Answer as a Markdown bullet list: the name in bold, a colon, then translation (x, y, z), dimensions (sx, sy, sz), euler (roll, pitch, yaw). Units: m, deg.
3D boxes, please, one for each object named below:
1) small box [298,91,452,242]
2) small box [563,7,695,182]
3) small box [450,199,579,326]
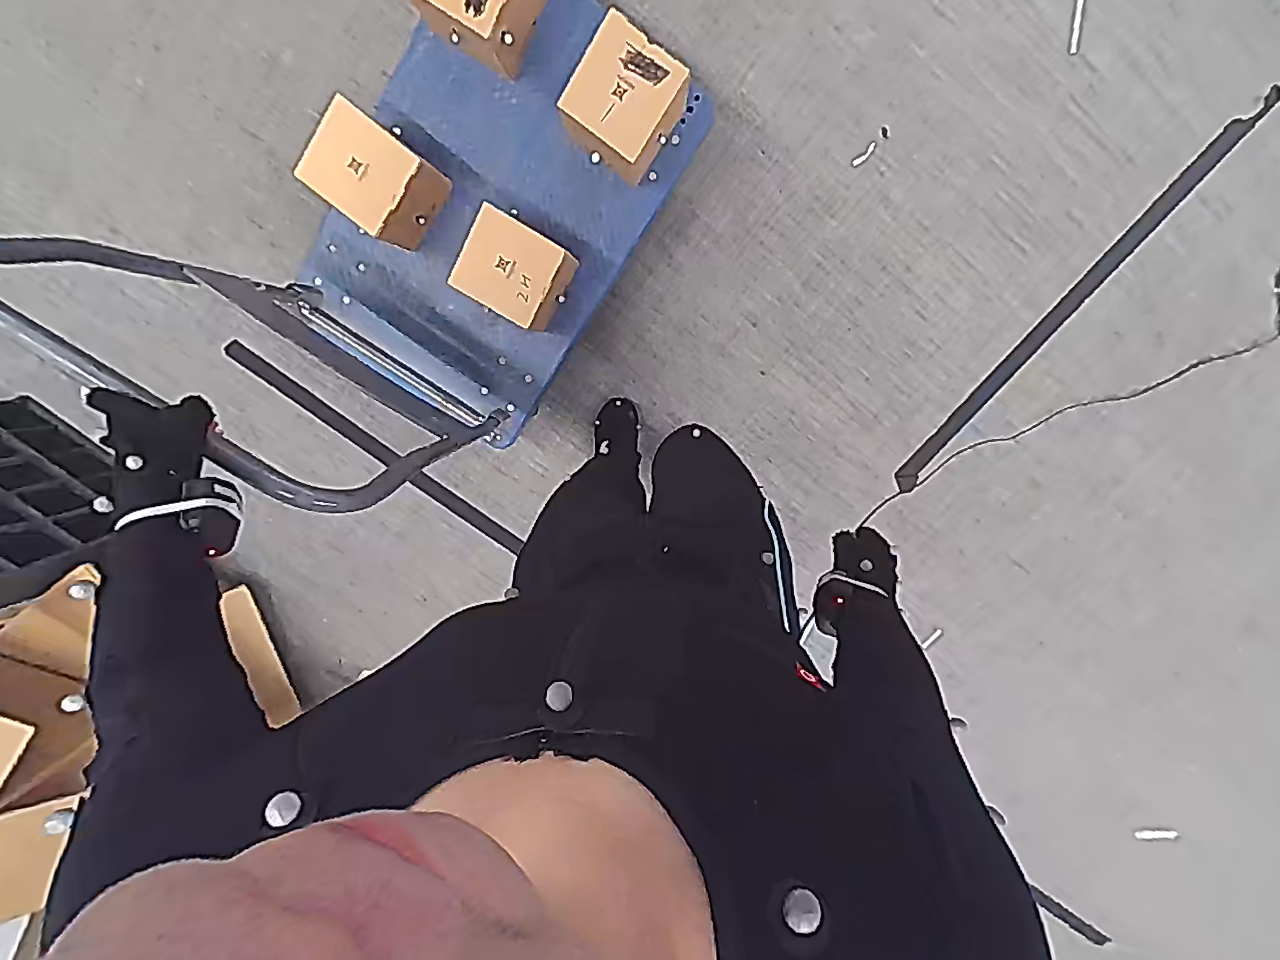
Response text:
- **small box**: translation (-0.500, -0.587, 1.044), dimensions (0.179, 0.176, 0.168), euler (37, 102, -10)
- **small box**: translation (-0.020, -0.697, 1.003), dimensions (0.168, 0.176, 0.179), euler (35, 104, -8)
- **small box**: translation (-0.241, -0.421, 1.082), dimensions (0.179, 0.176, 0.168), euler (30, 104, -7)
